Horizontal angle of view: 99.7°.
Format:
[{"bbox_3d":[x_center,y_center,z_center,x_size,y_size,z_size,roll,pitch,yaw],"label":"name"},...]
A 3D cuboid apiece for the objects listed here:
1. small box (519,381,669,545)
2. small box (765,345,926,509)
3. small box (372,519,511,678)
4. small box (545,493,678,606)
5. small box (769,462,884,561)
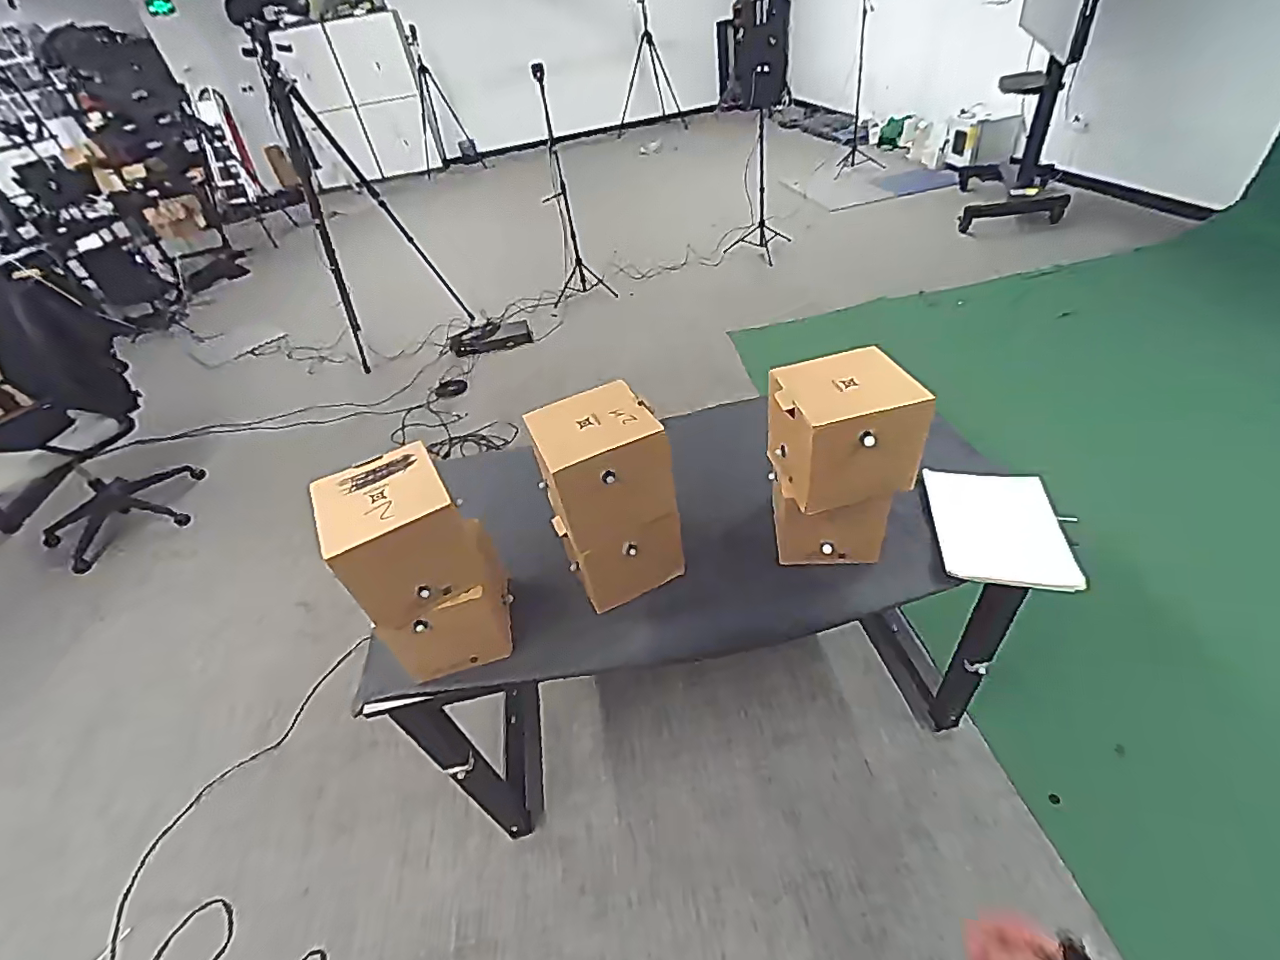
[{"bbox_3d":[-0.070,-0.025,0.861,0.179,0.176,0.168,-22,43,-12],"label":"small box"},{"bbox_3d":[0.302,-0.081,0.839,0.179,0.176,0.168,-14,41,-2],"label":"small box"},{"bbox_3d":[-0.324,0.199,0.913,0.168,0.176,0.179,-16,41,-6],"label":"small box"},{"bbox_3d":[-0.046,0.094,0.972,0.179,0.176,0.168,-23,43,-15],"label":"small box"},{"bbox_3d":[0.320,0.024,0.964,0.168,0.176,0.179,-3,42,10],"label":"small box"}]
